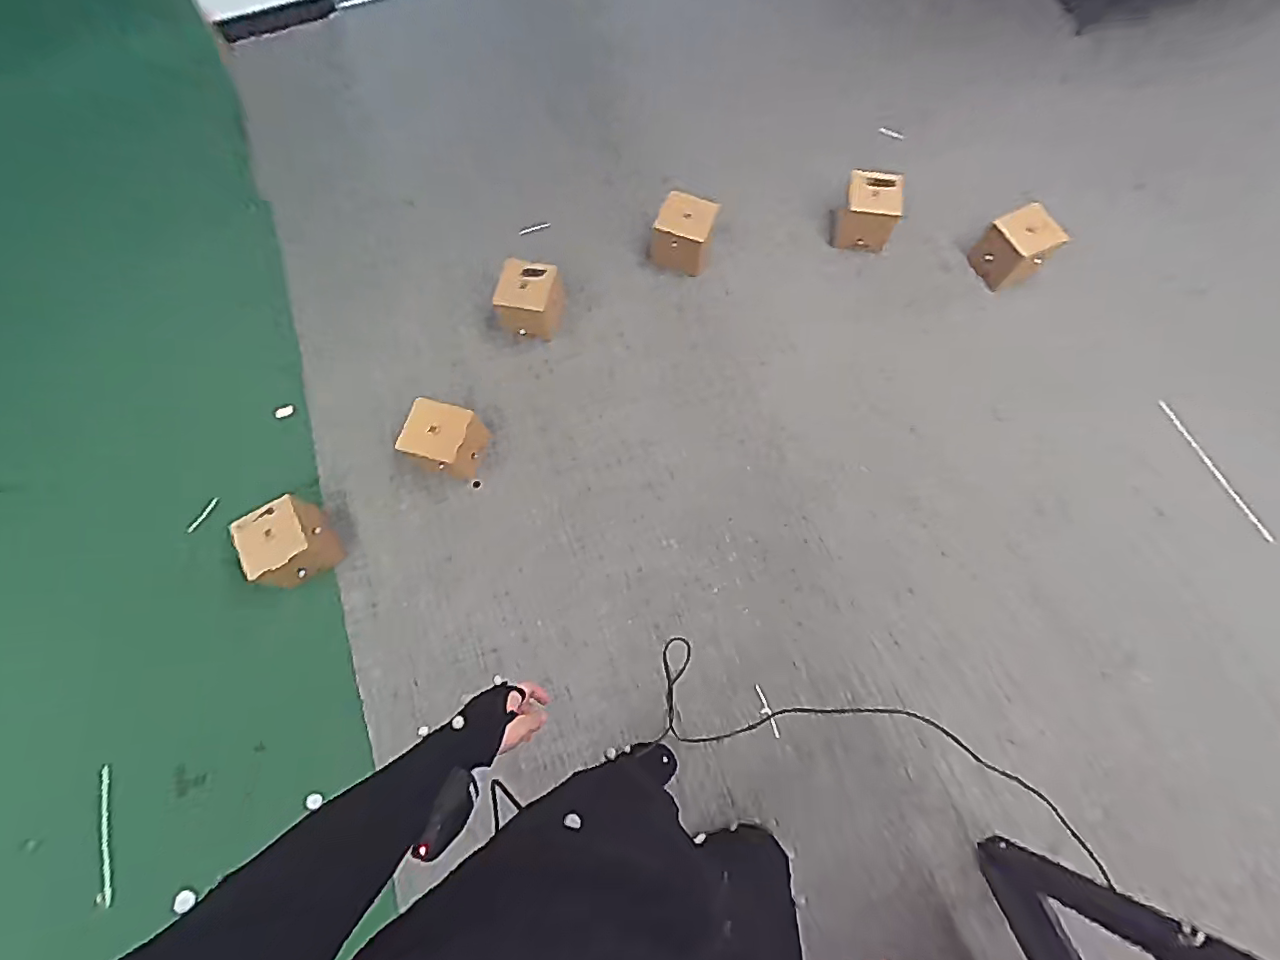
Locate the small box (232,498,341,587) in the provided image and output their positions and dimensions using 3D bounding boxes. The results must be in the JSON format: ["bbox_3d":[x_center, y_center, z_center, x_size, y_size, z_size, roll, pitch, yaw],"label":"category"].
[{"bbox_3d":[-0.962,0.180,1.487,0.168,0.176,0.179,-30,73,-9],"label":"small box"}]

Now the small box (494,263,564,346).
[{"bbox_3d":[-0.348,-0.564,1.745,0.168,0.176,0.179,11,71,5],"label":"small box"}]

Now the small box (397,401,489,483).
[{"bbox_3d":[-0.569,-0.106,1.586,0.179,0.176,0.168,15,71,5],"label":"small box"}]

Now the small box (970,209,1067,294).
[{"bbox_3d":[1.236,-0.750,1.789,0.179,0.176,0.168,-23,72,-7],"label":"small box"}]
